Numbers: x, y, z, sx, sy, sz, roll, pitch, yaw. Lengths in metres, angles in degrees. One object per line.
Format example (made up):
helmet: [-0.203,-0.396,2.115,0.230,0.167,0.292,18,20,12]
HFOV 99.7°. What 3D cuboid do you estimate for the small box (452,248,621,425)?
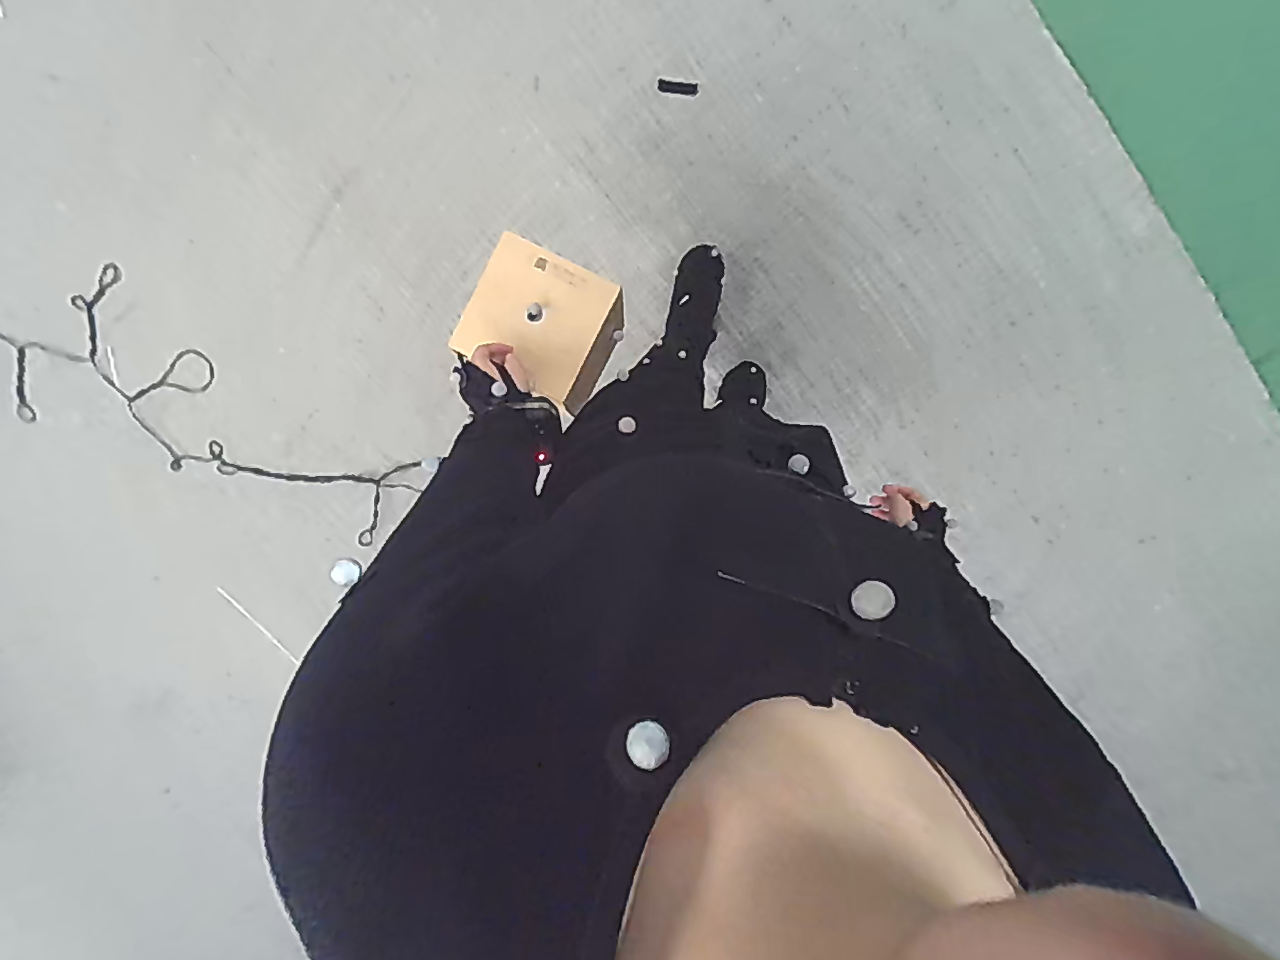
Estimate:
small box: [-0.134,-0.195,0.768,0.168,0.179,0.176,25,89,0]
